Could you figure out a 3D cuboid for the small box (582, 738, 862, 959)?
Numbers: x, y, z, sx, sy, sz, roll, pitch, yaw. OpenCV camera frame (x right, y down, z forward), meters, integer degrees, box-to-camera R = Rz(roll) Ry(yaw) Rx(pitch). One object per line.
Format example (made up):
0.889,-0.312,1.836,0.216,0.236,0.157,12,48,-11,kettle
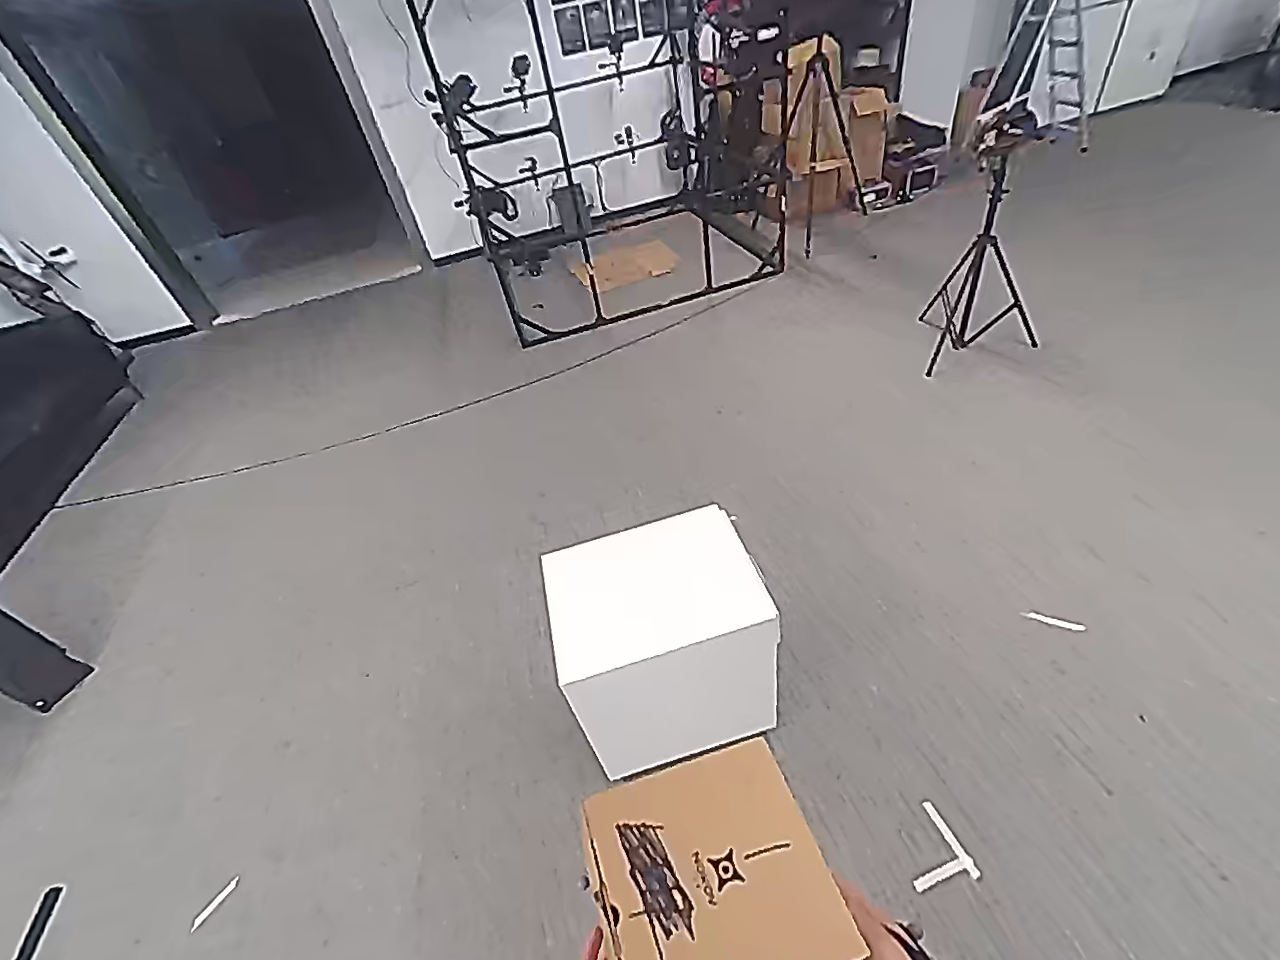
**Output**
0.053,0.367,0.479,0.179,0.176,0.168,-11,45,-17,small box
